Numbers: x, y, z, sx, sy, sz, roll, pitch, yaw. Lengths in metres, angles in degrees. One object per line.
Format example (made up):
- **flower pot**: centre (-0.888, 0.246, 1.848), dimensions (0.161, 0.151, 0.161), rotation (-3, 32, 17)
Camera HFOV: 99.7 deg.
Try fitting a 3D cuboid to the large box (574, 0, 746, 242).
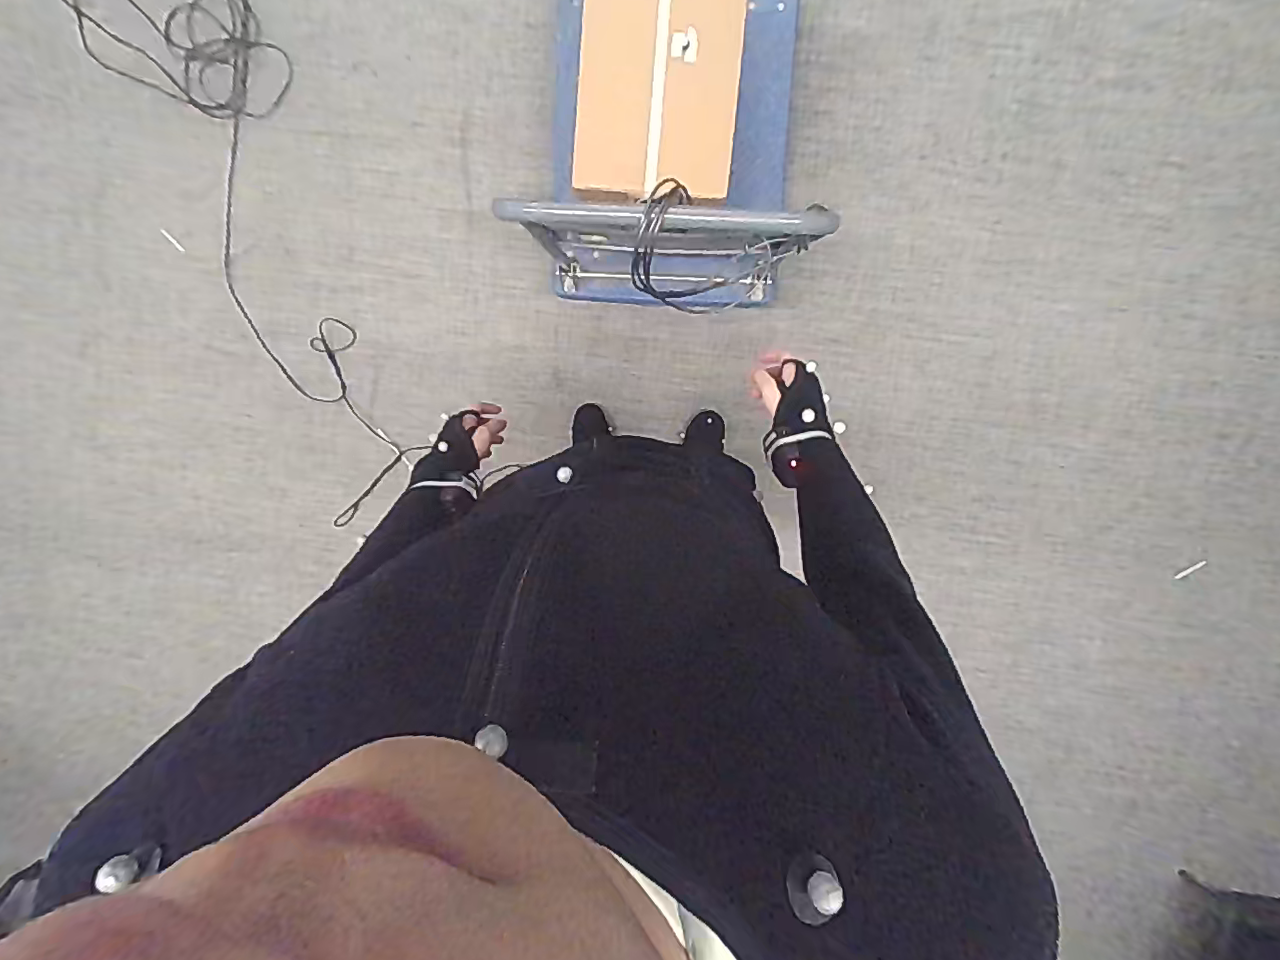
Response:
- **large box**: centre (0.045, -0.785, 1.198), dimensions (0.320, 0.320, 0.408), rotation (6, 98, 2)
